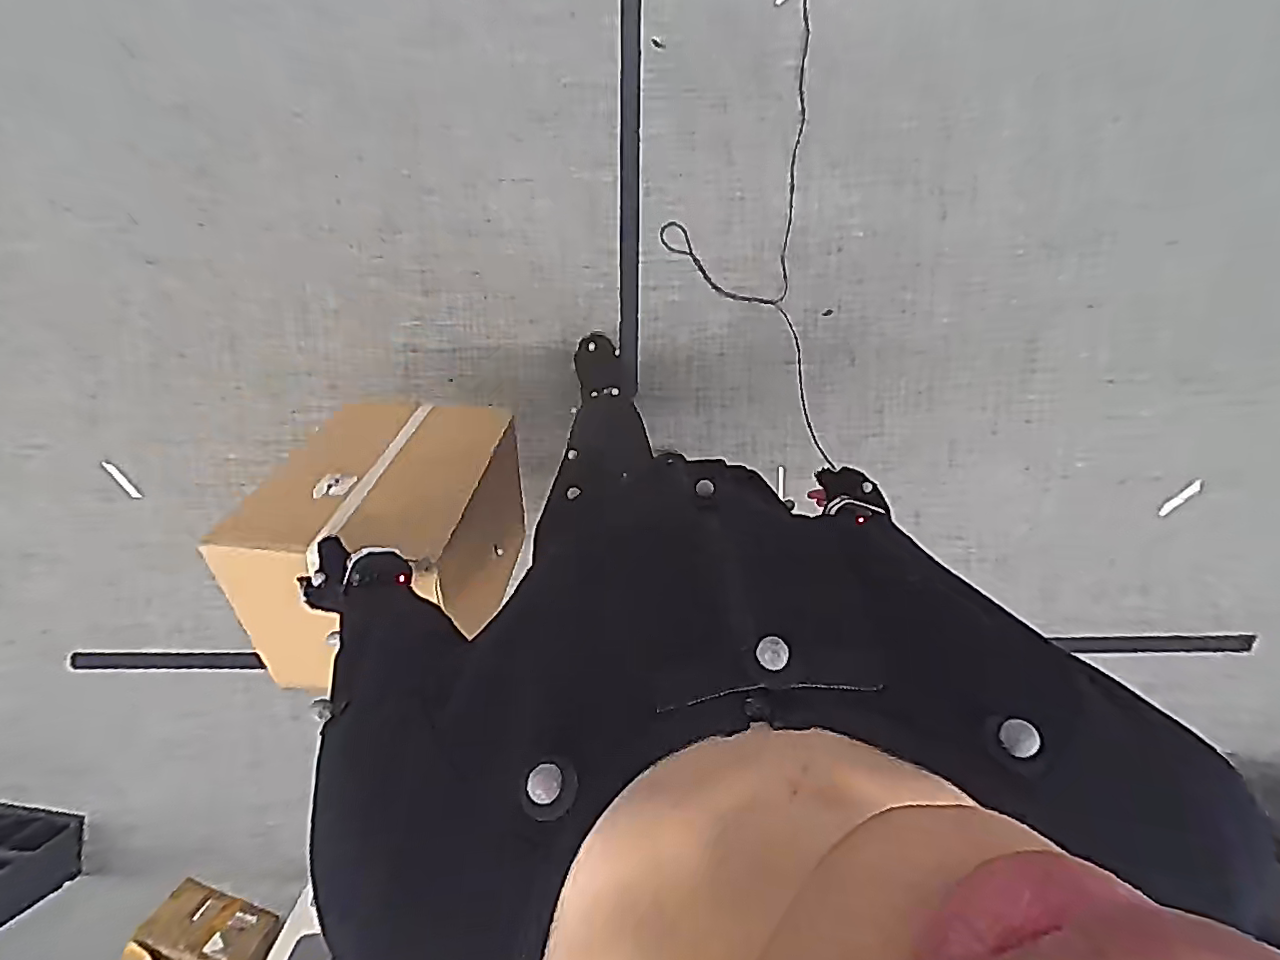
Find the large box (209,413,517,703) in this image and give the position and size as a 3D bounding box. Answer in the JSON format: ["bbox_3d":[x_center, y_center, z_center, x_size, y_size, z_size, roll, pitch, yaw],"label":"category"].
[{"bbox_3d":[-0.416,0.117,0.950,0.320,0.408,0.320,3,125,1],"label":"large box"}]
